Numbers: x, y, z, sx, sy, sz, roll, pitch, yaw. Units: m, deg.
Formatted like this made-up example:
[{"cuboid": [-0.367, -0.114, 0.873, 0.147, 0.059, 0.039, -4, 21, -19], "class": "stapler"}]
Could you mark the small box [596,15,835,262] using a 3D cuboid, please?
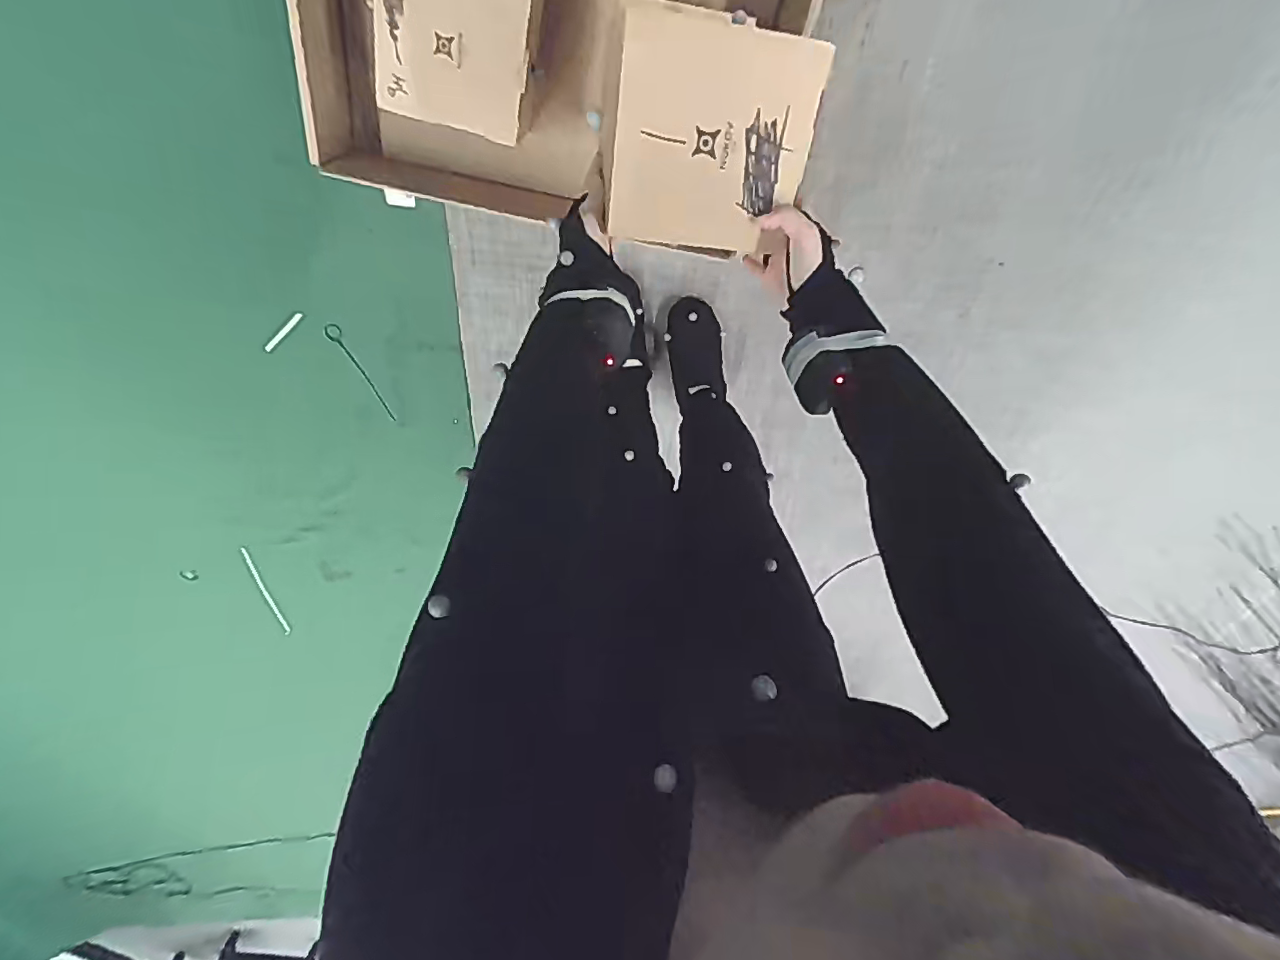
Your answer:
[{"cuboid": [0.054, -0.331, 0.535, 0.179, 0.176, 0.168, 3, 125, -10], "class": "small box"}]
